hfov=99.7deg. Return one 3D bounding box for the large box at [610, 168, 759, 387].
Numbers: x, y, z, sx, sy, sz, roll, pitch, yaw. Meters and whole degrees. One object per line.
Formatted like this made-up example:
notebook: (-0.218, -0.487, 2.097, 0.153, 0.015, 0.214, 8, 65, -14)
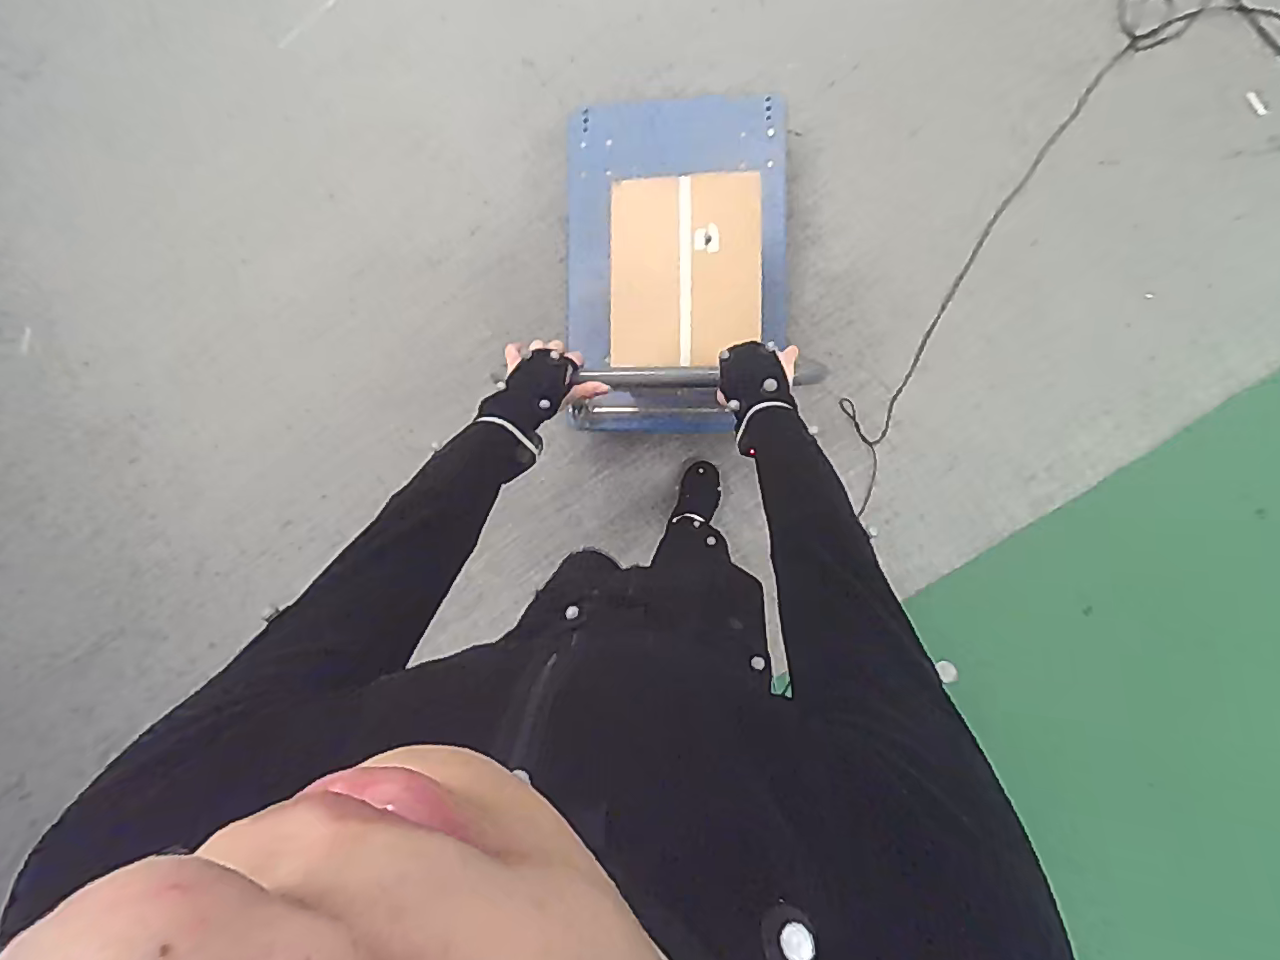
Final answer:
large box: (0.109, -0.447, 1.283, 0.320, 0.320, 0.408, 1, 90, 6)
